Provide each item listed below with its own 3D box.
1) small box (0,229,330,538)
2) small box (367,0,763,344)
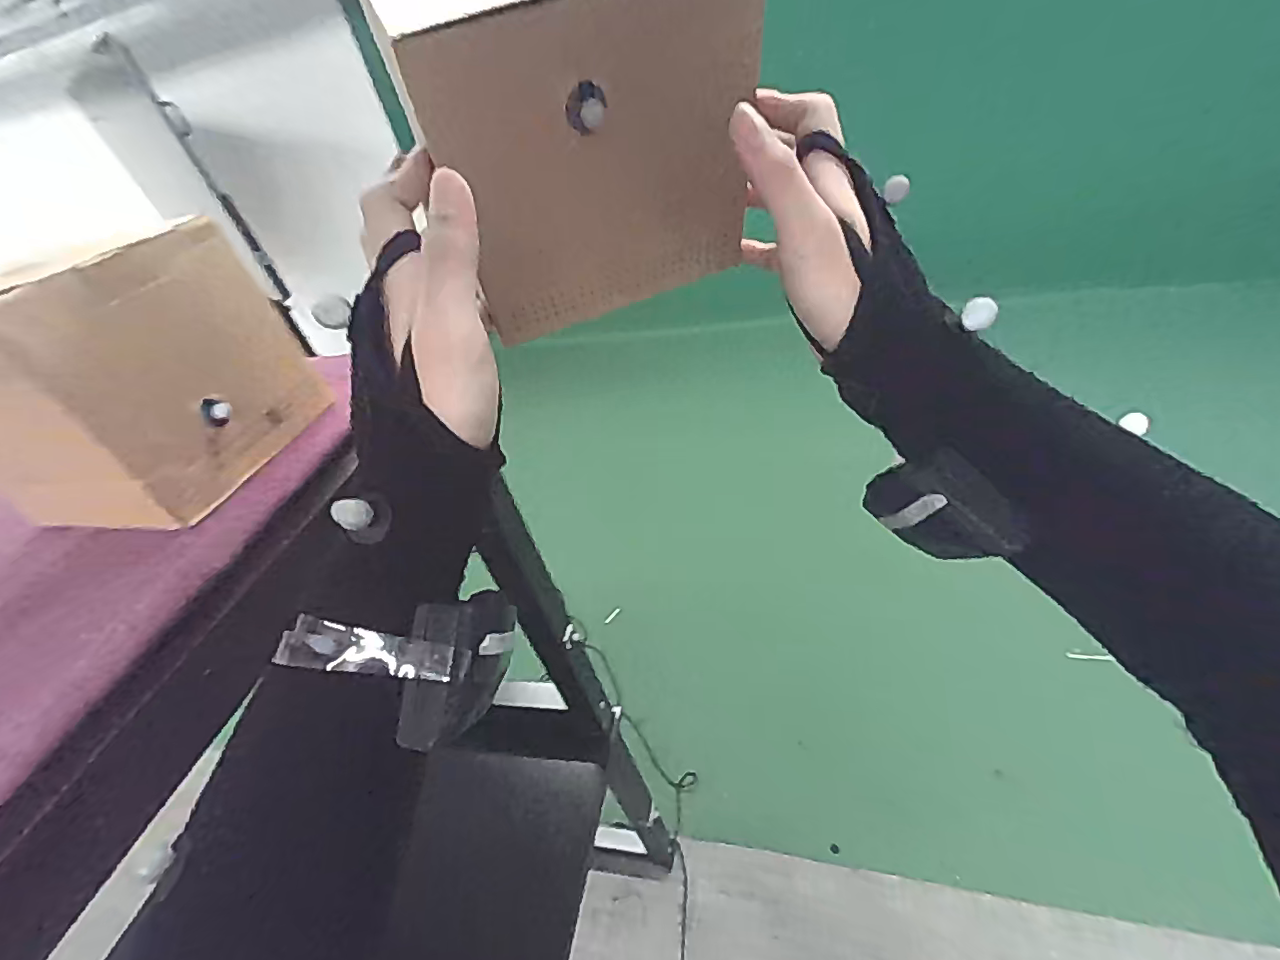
[{"bbox_3d":[-0.393,-0.070,0.414,0.179,0.176,0.168,-1,40,17],"label":"small box"},{"bbox_3d":[-0.041,-0.214,0.339,0.179,0.176,0.168,-22,58,-9],"label":"small box"}]
